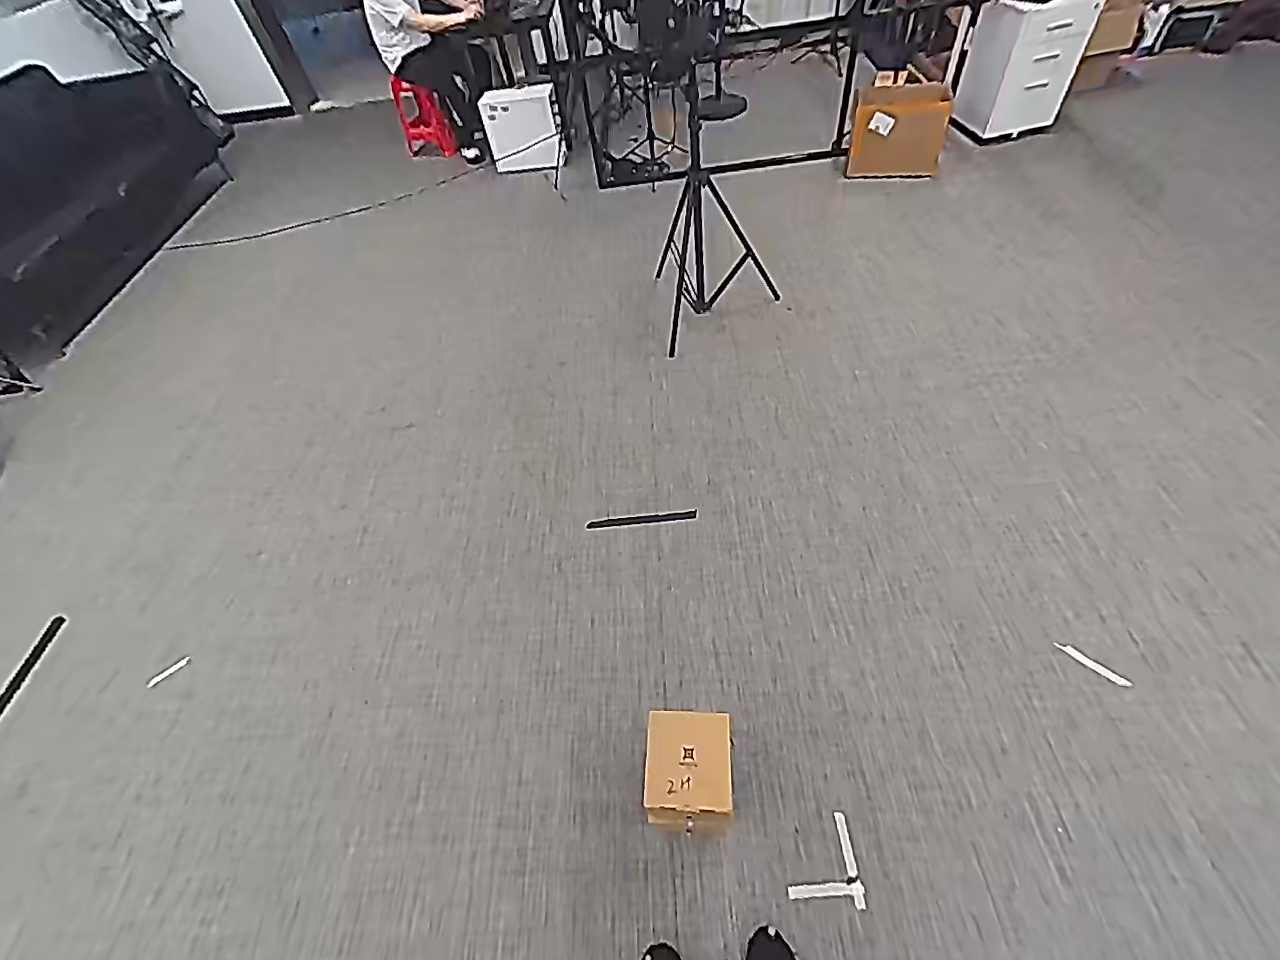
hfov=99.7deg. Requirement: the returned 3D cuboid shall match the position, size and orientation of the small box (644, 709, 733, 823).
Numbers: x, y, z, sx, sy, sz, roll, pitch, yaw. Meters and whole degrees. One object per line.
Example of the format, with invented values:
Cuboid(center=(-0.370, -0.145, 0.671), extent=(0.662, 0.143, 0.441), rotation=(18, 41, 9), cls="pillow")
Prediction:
Cuboid(center=(0.103, 0.585, 1.106), extent=(0.168, 0.176, 0.179), rotation=(-2, 53, 9), cls="small box")
